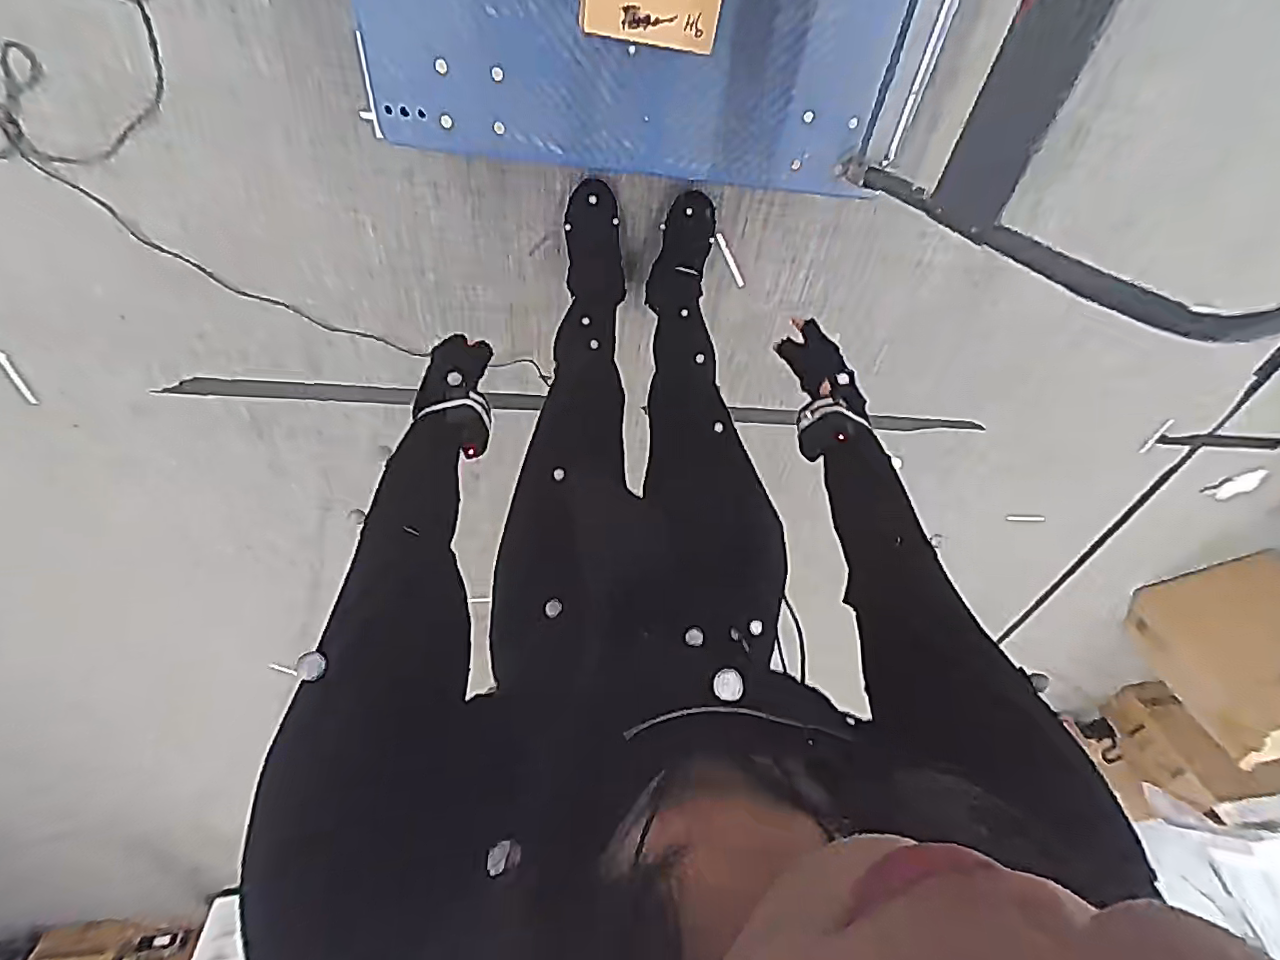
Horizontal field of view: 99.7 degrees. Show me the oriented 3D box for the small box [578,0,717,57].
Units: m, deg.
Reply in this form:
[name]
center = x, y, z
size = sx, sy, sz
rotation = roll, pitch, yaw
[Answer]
[small box]
center = 0.011, -0.666, 0.685
size = 0.168, 0.176, 0.179
rotation = 3, 130, -11
